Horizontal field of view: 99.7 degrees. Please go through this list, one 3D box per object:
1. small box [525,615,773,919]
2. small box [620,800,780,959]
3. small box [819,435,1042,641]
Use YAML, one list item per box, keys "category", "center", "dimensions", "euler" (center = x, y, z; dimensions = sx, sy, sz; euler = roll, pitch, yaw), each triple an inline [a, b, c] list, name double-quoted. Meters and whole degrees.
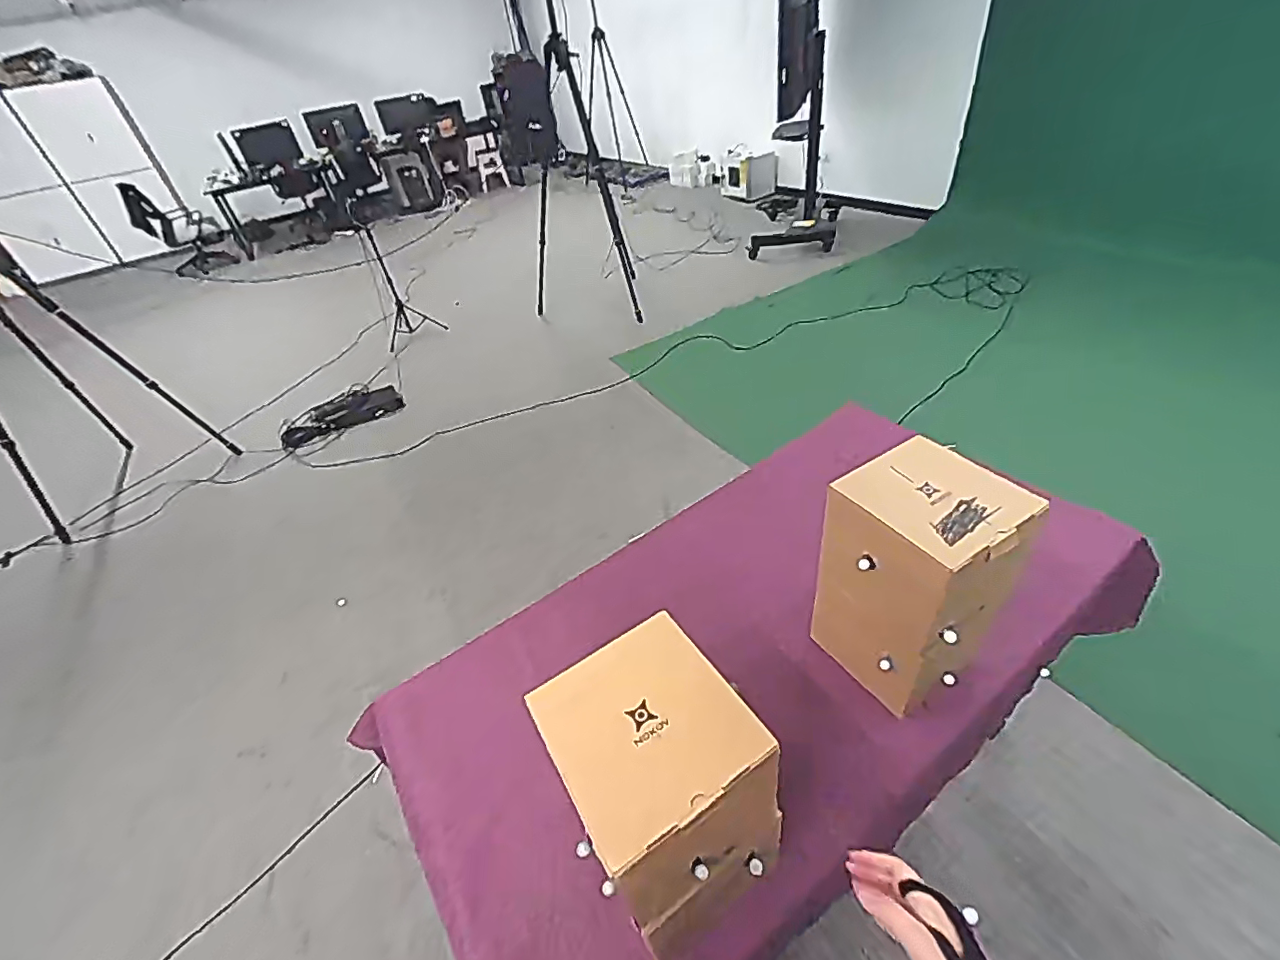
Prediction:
- category: "small box"
  center: [0.010, 0.277, 0.535]
  dimensions: [0.168, 0.176, 0.179]
  euler: [-27, 43, -20]
- category: "small box"
  center: [0.042, 0.405, 0.632]
  dimensions: [0.179, 0.176, 0.168]
  euler: [-28, 42, -20]
- category: "small box"
  center: [0.352, 0.077, 0.690]
  dimensions: [0.168, 0.176, 0.179]
  euler: [-27, 41, -18]
